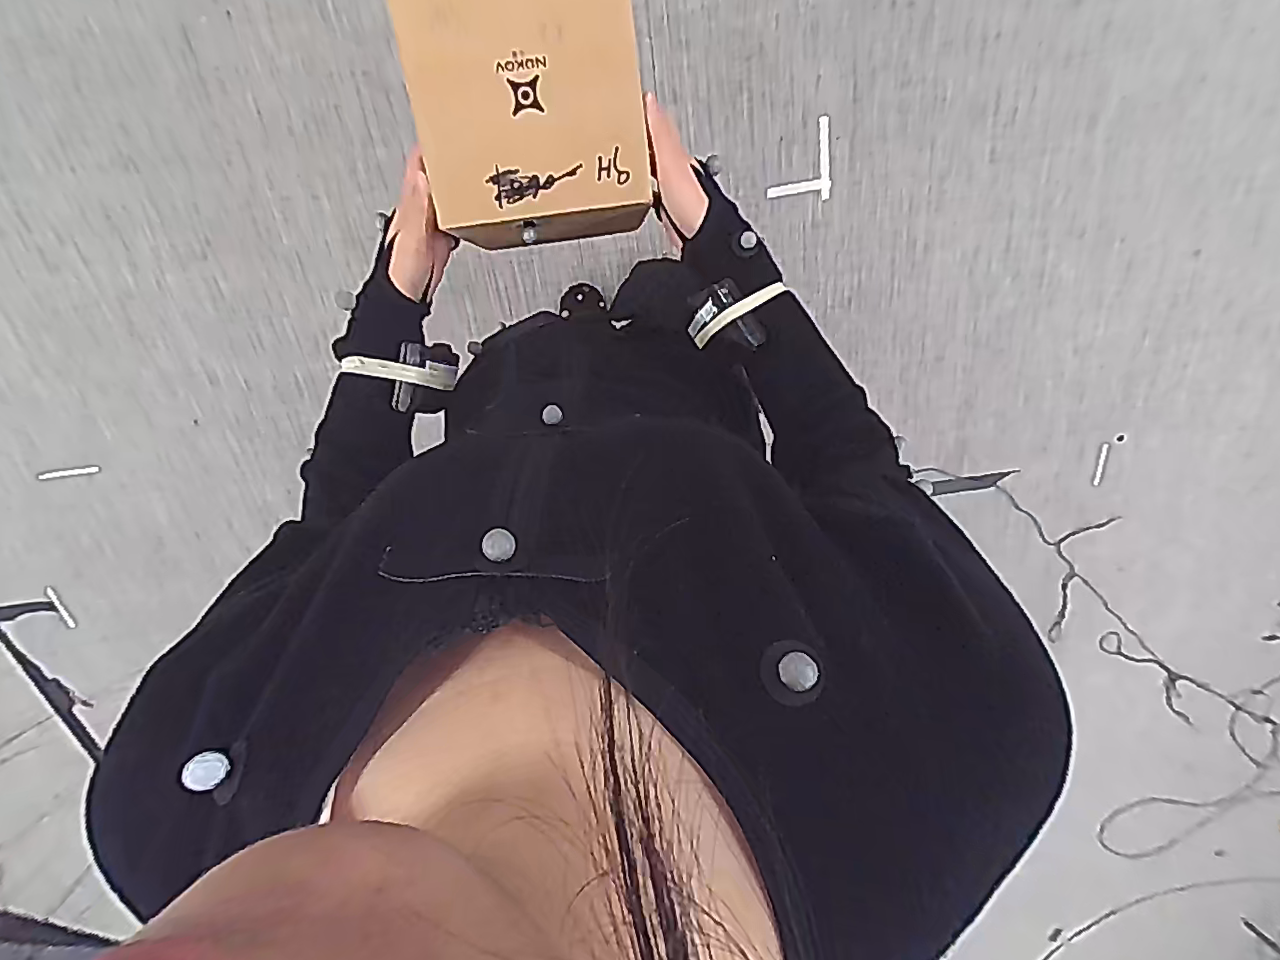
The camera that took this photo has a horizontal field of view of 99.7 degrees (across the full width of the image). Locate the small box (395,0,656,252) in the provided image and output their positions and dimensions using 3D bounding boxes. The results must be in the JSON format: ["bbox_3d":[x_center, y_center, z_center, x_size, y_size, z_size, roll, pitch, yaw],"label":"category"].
[{"bbox_3d":[-0.084,-0.303,0.457,0.168,0.176,0.179,-8,108,-2],"label":"small box"}]

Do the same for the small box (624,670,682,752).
[{"bbox_3d":[0.040,0.765,1.801,0.168,0.176,0.179,-9,113,-2],"label":"small box"}]
